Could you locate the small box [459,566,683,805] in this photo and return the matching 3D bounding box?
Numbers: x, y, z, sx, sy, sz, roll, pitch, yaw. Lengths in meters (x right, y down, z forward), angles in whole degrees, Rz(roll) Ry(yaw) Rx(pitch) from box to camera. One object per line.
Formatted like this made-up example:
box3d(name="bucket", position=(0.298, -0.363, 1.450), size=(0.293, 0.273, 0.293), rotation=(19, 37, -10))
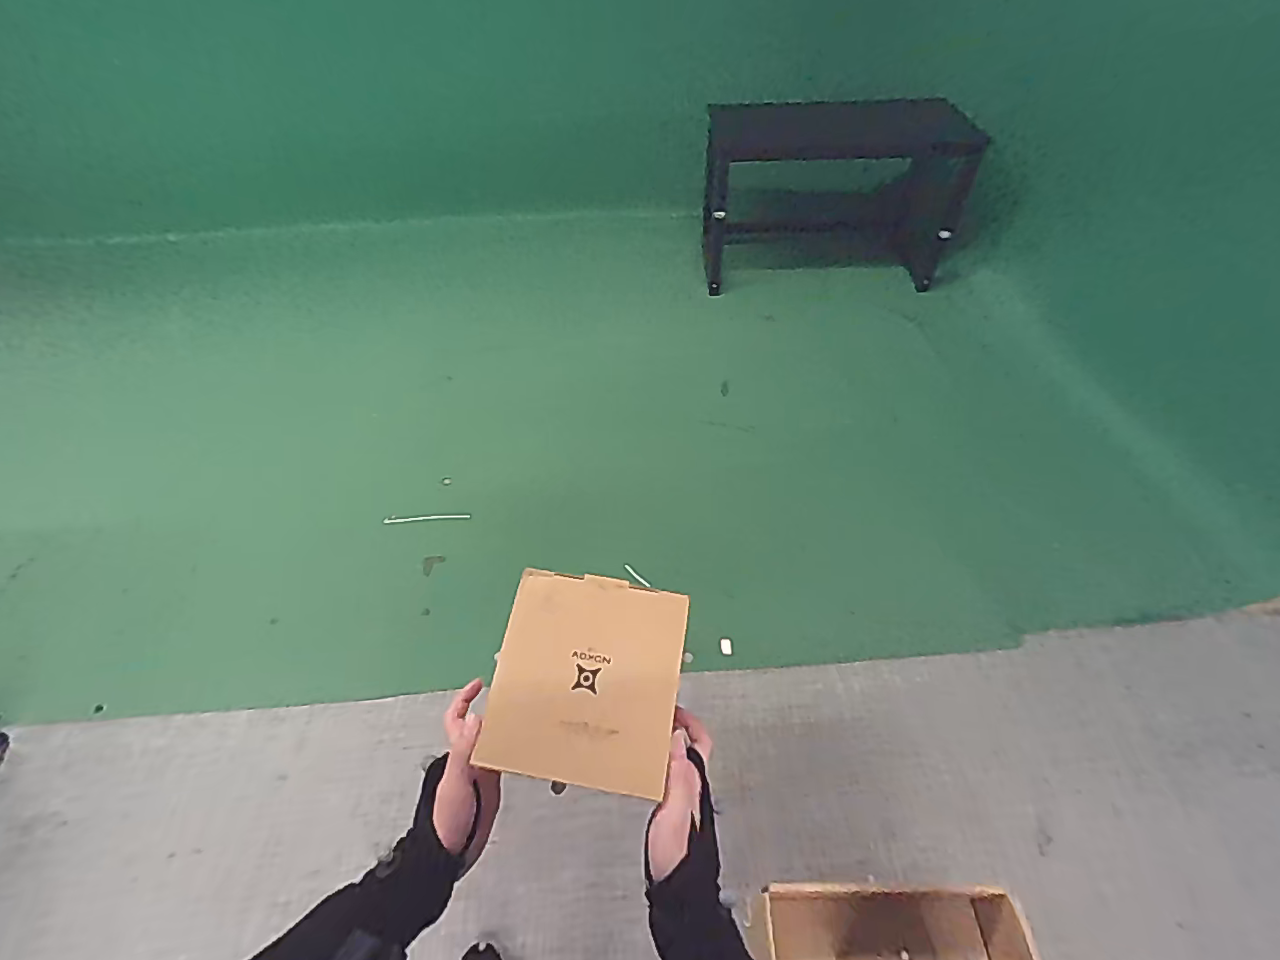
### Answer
box3d(name="small box", position=(-0.056, 0.207, 0.544), size=(0.168, 0.176, 0.179), rotation=(9, 63, 5))
